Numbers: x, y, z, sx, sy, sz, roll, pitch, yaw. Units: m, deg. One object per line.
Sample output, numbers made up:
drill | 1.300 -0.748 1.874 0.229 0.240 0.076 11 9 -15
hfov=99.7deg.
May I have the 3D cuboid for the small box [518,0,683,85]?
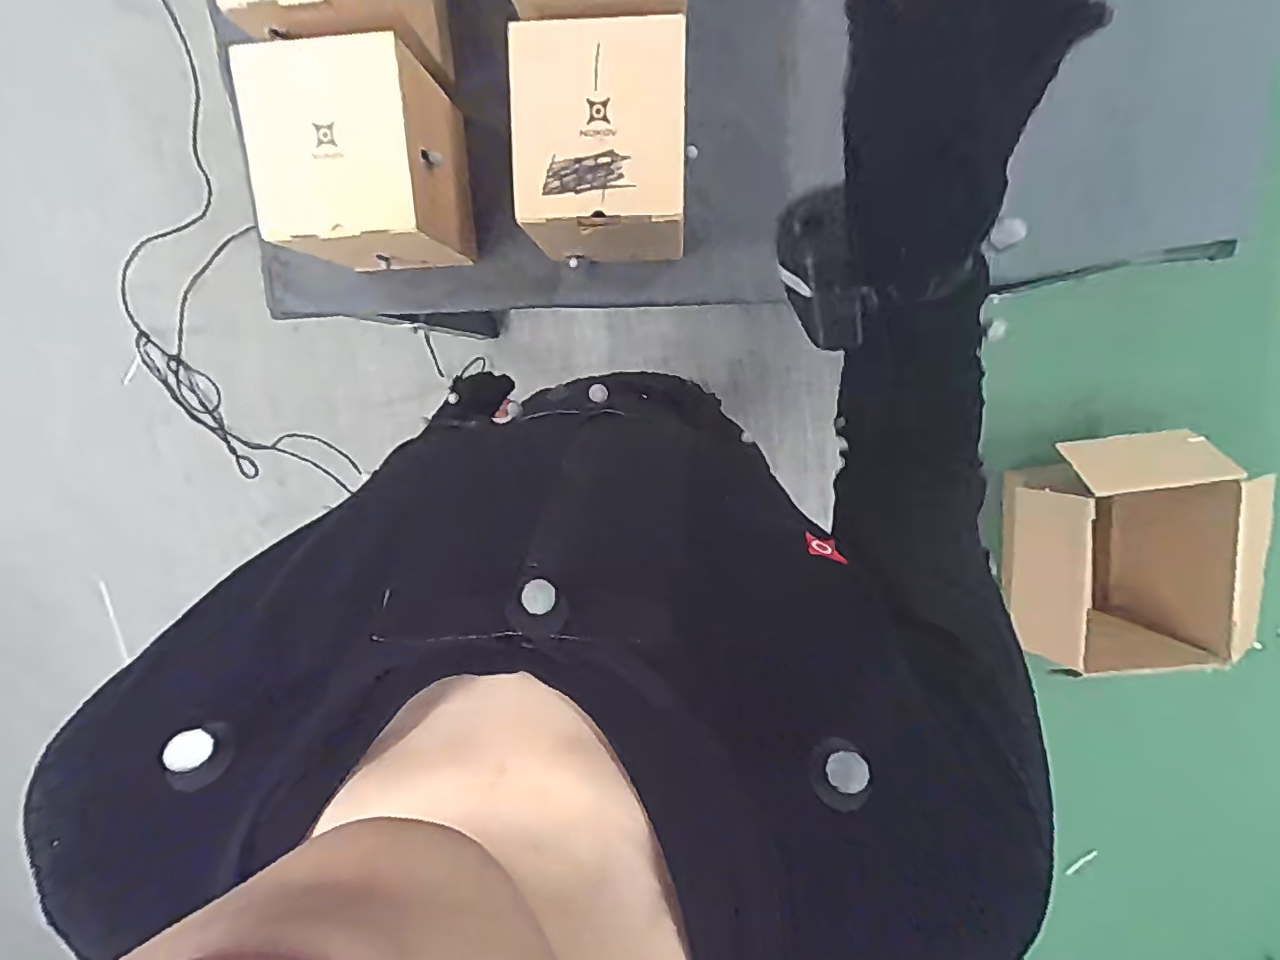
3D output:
small box | -0.041 -0.548 0.553 0.168 0.176 0.179 -2 101 4
